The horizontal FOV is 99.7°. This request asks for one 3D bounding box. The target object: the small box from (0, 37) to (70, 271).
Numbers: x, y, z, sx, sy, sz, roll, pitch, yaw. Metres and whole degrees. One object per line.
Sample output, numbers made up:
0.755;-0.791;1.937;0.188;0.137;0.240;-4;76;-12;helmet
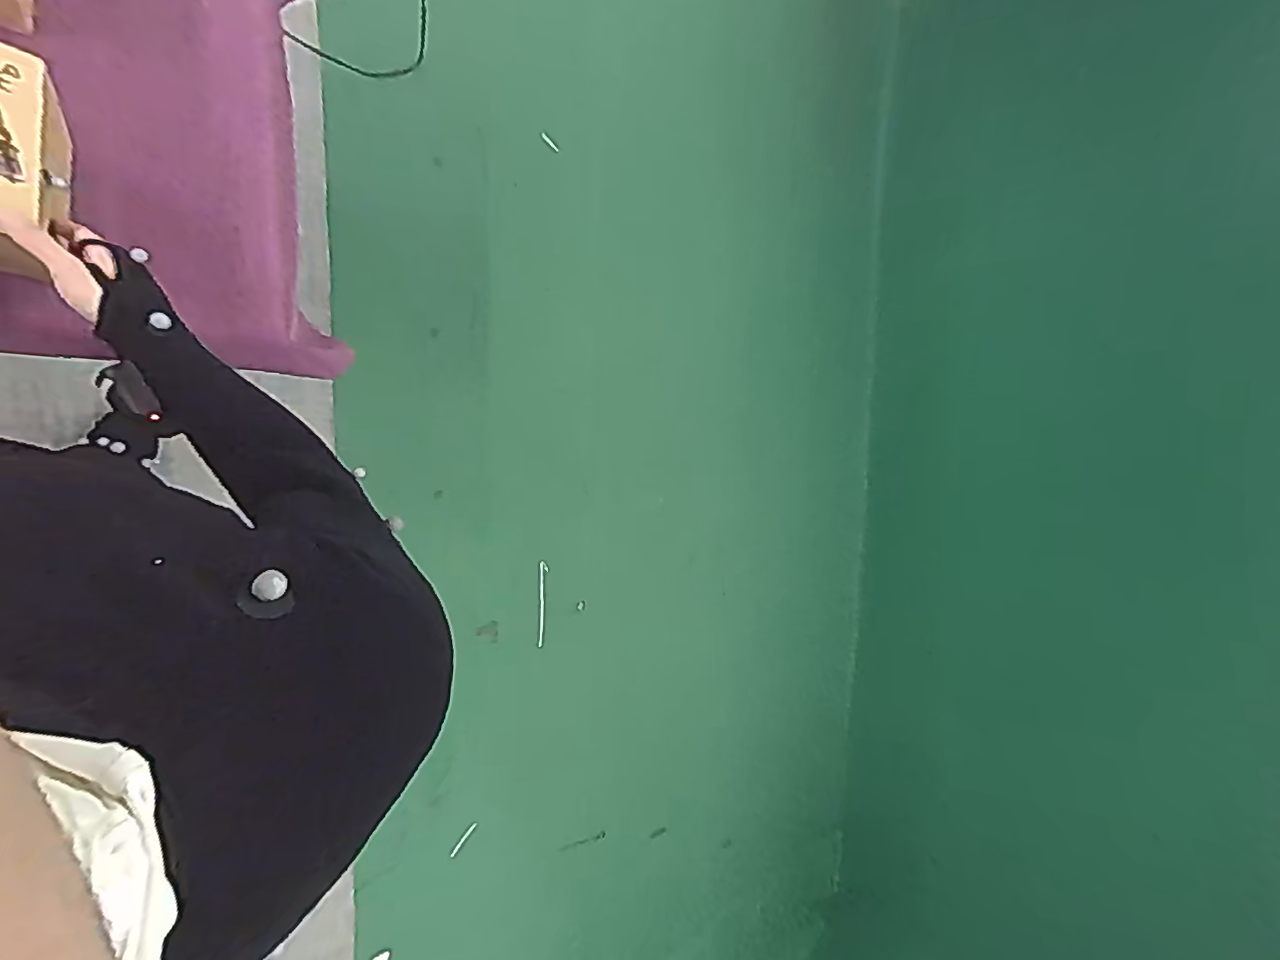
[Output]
-0.654;-0.305;0.483;0.179;0.176;0.168;3;91;-41;small box
